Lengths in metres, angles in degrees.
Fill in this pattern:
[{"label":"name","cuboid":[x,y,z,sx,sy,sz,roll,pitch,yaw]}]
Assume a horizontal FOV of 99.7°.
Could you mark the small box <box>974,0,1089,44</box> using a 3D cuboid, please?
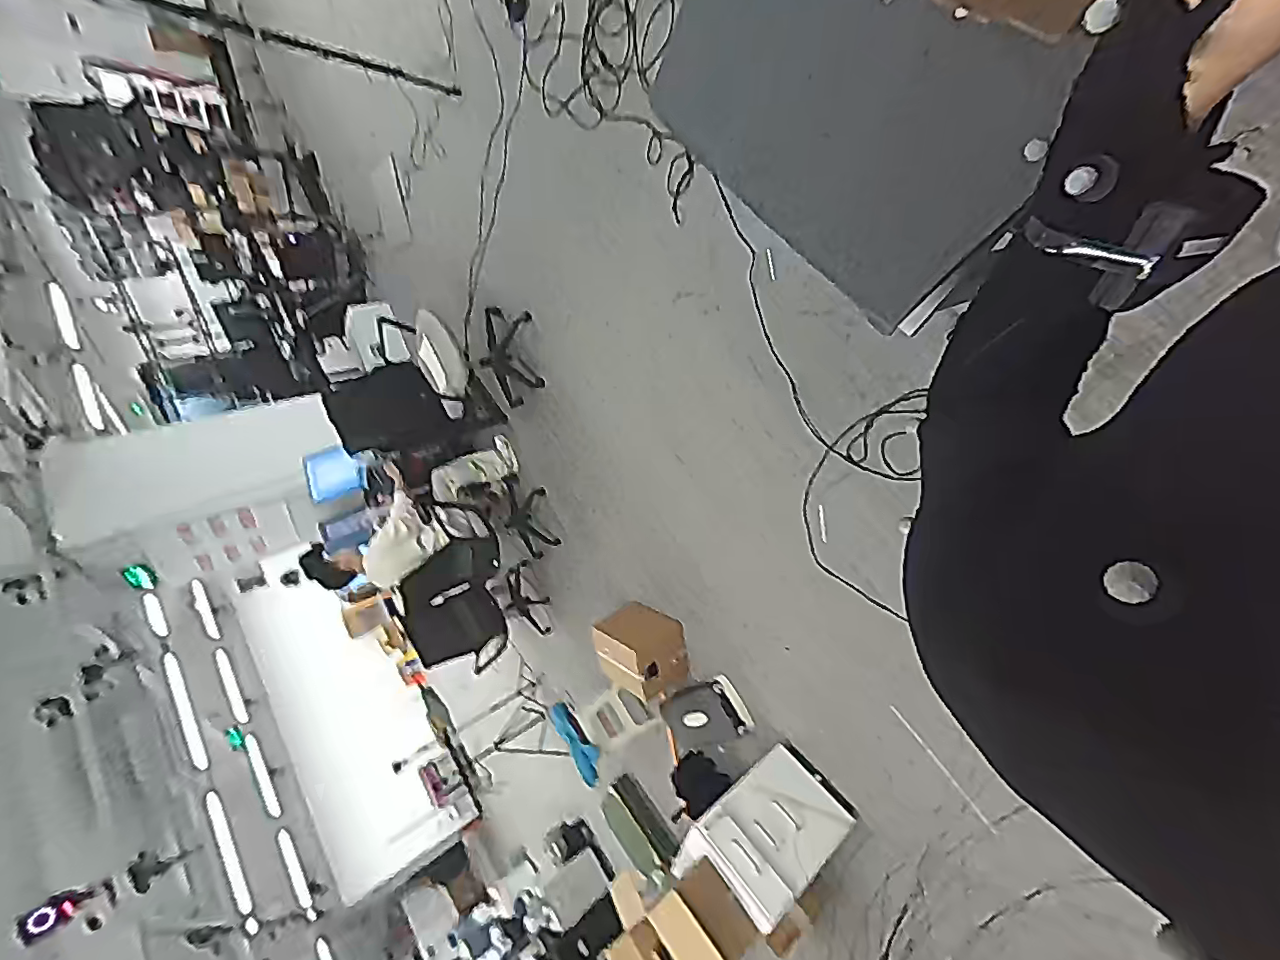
[{"label":"small box","cuboid":[0.343,-0.525,0.471,0.168,0.176,0.179,54,145,20]}]
